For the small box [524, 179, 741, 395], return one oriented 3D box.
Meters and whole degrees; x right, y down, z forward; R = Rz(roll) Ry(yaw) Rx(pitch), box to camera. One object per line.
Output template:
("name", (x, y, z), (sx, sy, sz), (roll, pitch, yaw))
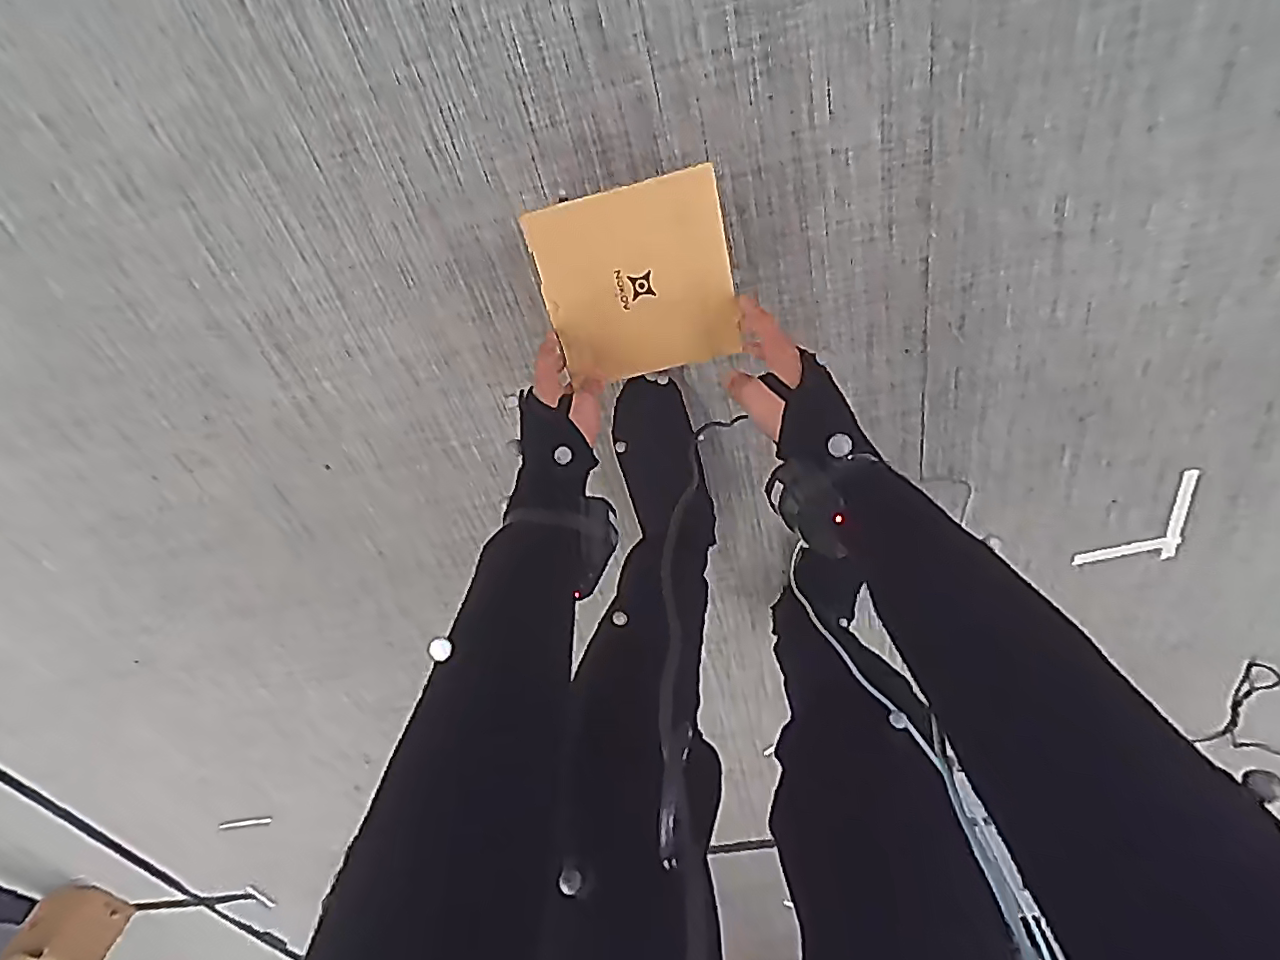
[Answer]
("small box", (0.000, -0.210, 0.573), (0.179, 0.176, 0.168), (-11, 117, 9))
